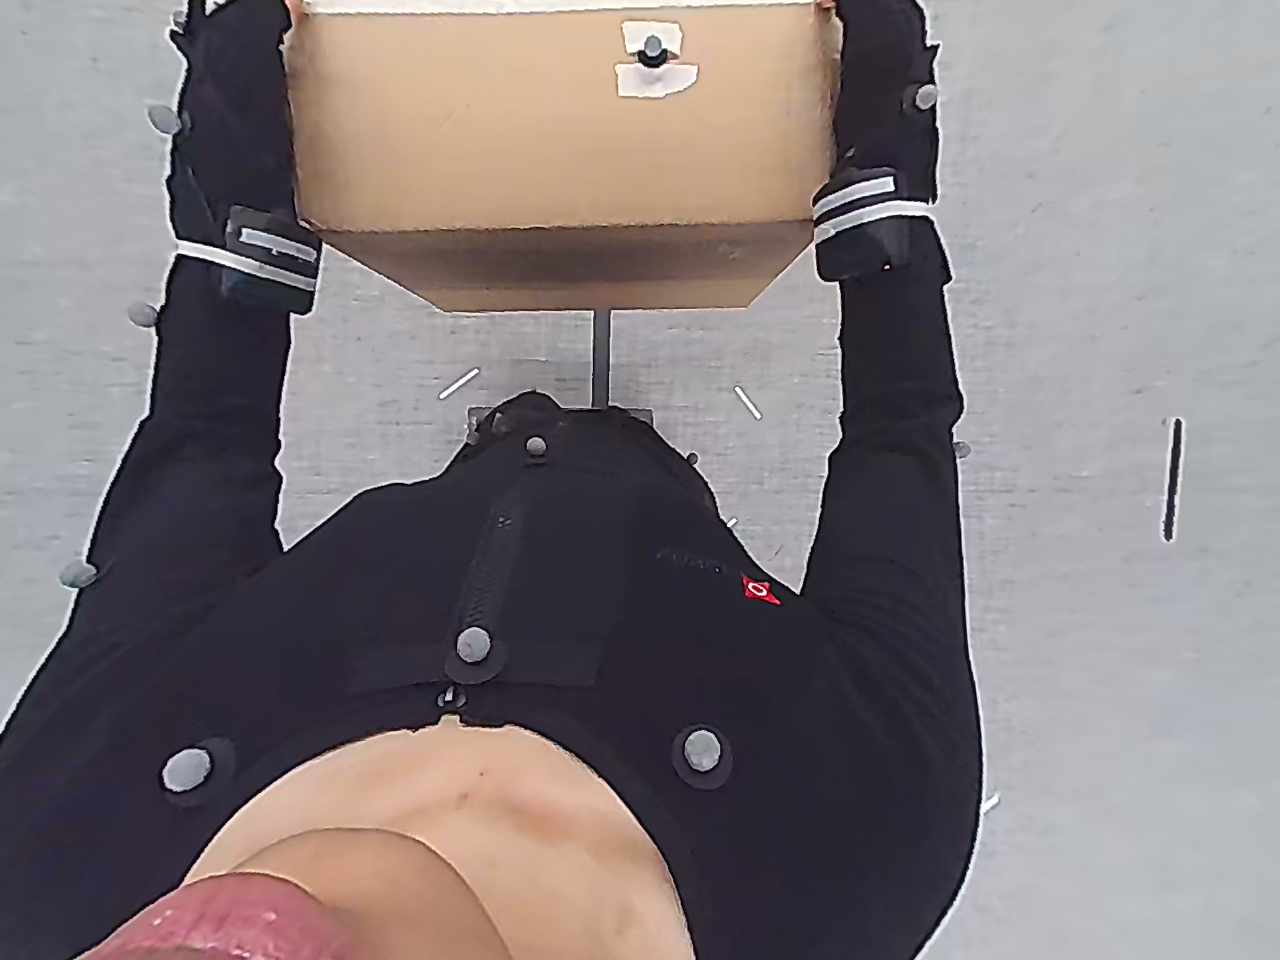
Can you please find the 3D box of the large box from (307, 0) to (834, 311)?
[{"bbox_3d":[-0.056,-0.368,0.555,0.408,0.320,0.320,-2,96,-1],"label":"large box"}]

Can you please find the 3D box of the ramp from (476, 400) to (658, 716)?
[{"bbox_3d":[-0.195,0.264,1.580,0.509,0.206,0.991,-2,96,-3],"label":"ramp"}]
